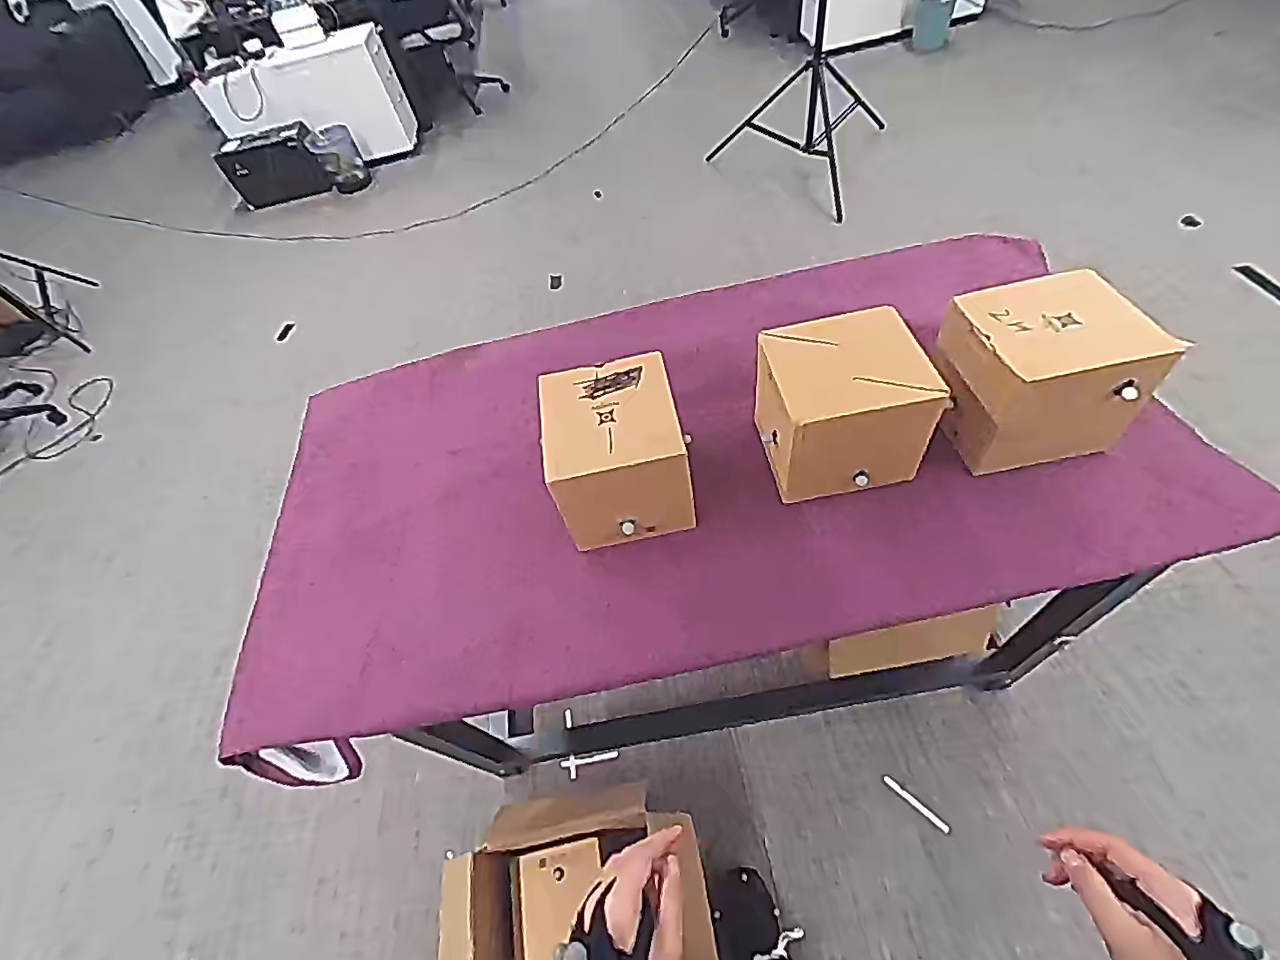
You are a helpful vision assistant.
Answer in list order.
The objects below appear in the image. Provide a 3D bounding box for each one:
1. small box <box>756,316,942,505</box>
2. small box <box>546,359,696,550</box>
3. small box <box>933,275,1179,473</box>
[{"bbox_3d":[0.259,-0.092,0.714,0.179,0.176,0.168,-11,52,4],"label":"small box"},{"bbox_3d":[-0.023,-0.030,0.728,0.168,0.176,0.179,-12,53,2],"label":"small box"},{"bbox_3d":[0.501,-0.130,0.696,0.179,0.176,0.168,-11,51,3],"label":"small box"}]
